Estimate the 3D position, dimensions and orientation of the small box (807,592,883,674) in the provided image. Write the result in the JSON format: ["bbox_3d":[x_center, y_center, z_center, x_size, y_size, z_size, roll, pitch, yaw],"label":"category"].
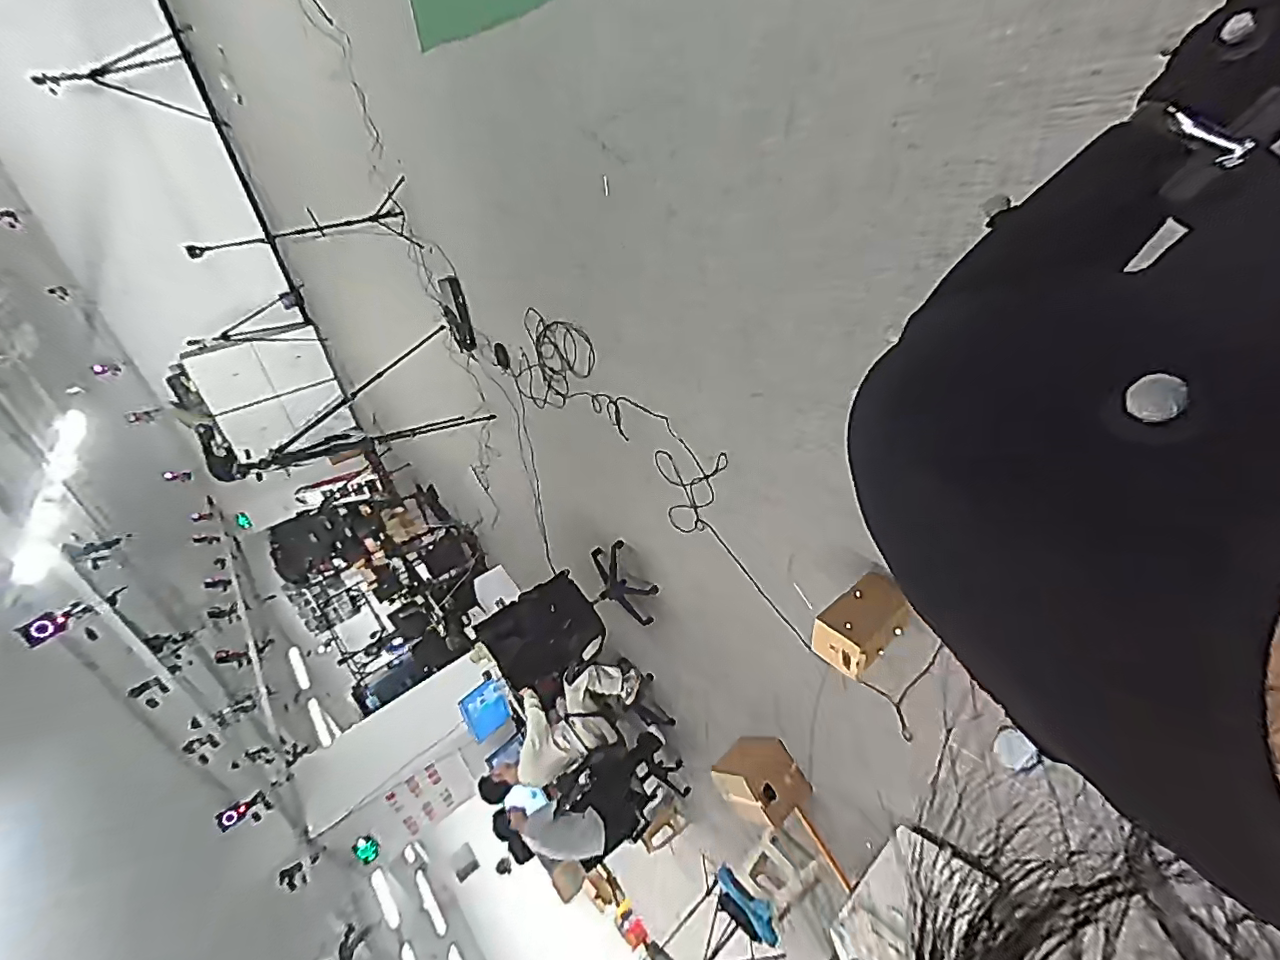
[{"bbox_3d":[0.698,0.513,1.841,0.179,0.176,0.168,31,139,42],"label":"small box"}]

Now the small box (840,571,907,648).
[{"bbox_3d":[0.823,0.453,1.929,0.179,0.176,0.168,30,138,42],"label":"small box"}]
